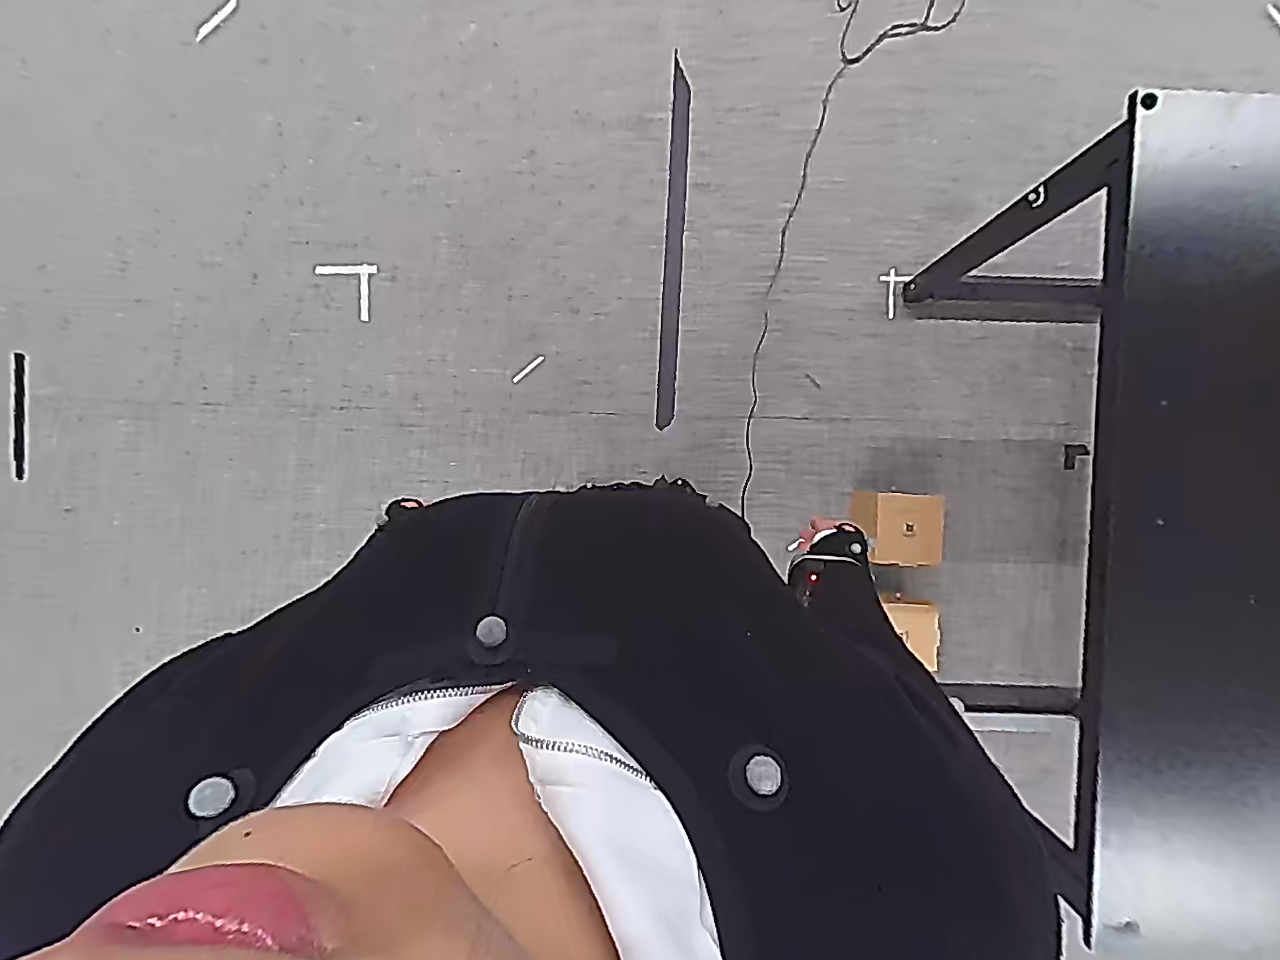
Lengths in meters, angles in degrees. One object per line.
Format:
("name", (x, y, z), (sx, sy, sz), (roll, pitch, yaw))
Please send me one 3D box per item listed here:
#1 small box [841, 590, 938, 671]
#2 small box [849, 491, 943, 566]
("small box", (0.642, 0.384, 1.406), (0.179, 0.176, 0.168), (2, 90, 1))
("small box", (0.658, 0.121, 1.406), (0.168, 0.176, 0.179), (2, 90, 0))
